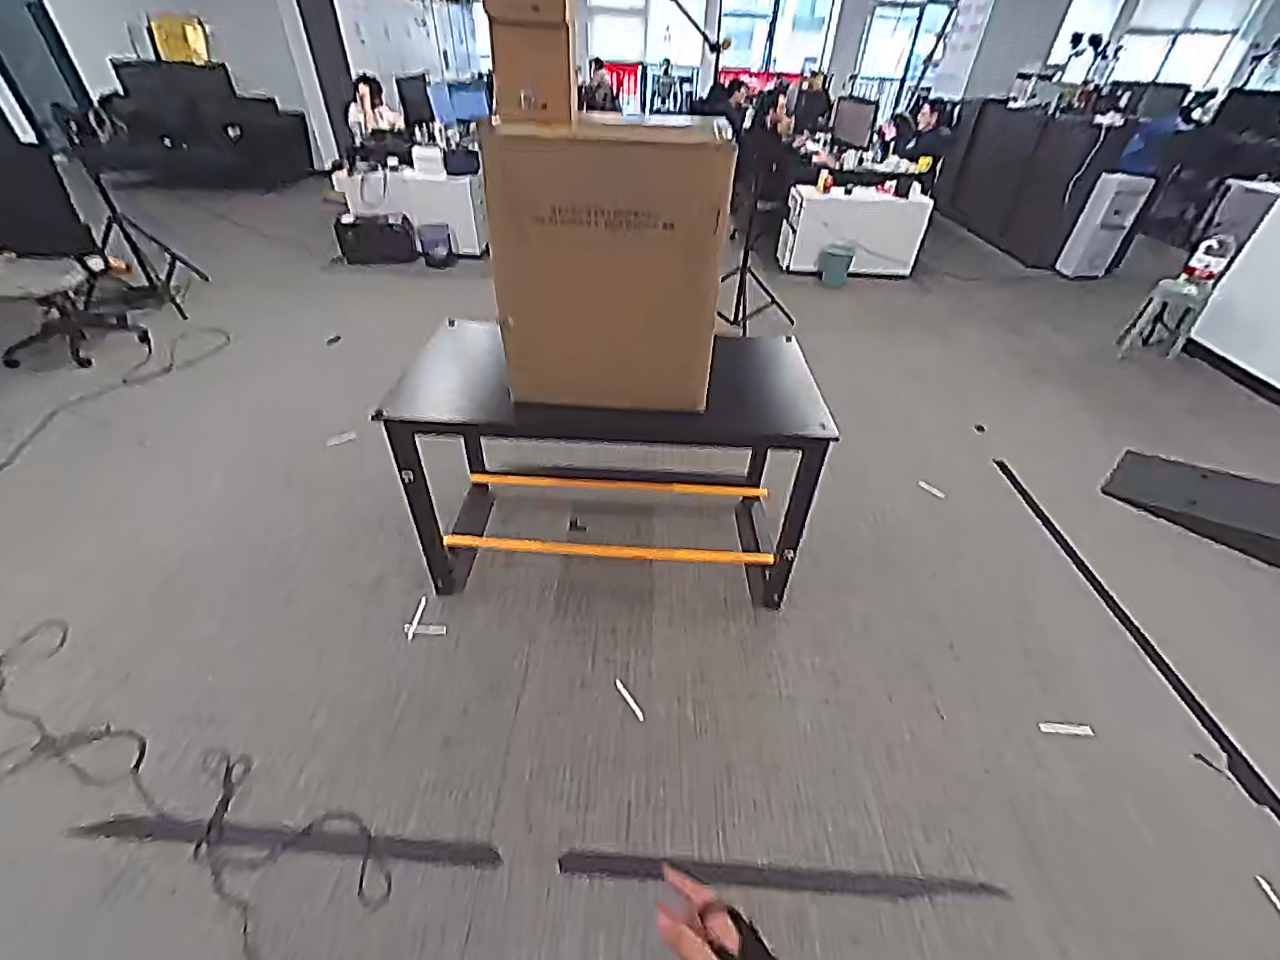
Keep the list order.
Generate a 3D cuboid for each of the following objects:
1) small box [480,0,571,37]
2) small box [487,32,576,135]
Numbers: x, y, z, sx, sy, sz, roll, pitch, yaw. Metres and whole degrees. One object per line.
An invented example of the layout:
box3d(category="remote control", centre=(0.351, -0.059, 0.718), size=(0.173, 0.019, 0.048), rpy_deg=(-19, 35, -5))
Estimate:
box3d(category="small box", centre=(-0.230, -1.000, 1.088), size=(0.168, 0.176, 0.179), rpy_deg=(1, 38, -2))
box3d(category="small box", centre=(-0.232, -0.881, 1.201), size=(0.168, 0.176, 0.179), rpy_deg=(0, 39, -3))
